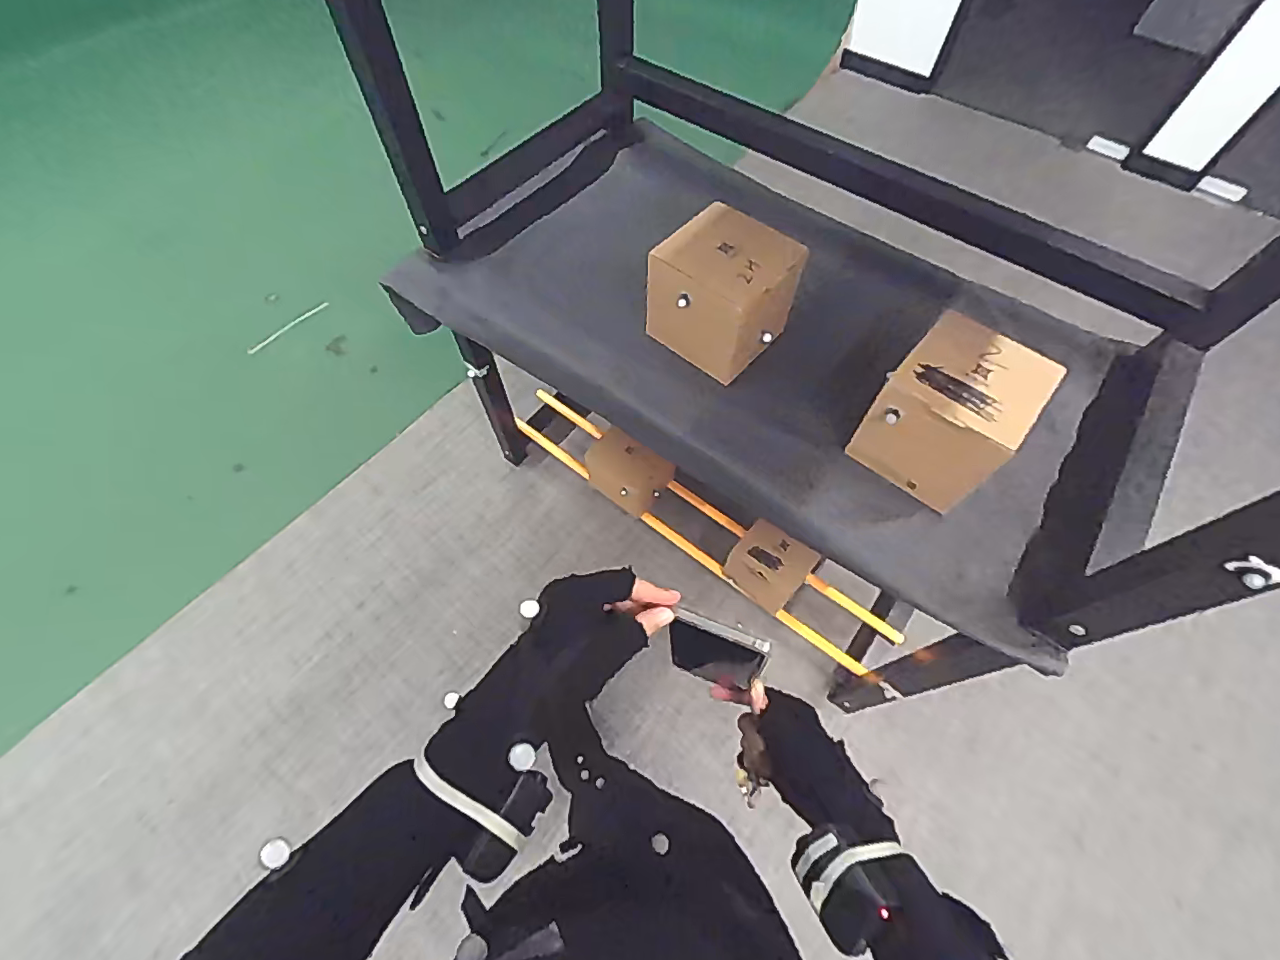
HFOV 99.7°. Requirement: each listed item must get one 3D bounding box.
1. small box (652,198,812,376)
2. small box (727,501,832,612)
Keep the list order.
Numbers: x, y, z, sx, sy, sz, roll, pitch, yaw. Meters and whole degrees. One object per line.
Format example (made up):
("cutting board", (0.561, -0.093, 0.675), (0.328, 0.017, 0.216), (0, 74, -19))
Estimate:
("small box", (0.133, -0.298, 0.853), (0.179, 0.176, 0.168), (38, 68, 19))
("small box", (0.326, 0.190, 1.298), (0.168, 0.176, 0.179), (38, 68, 18))
